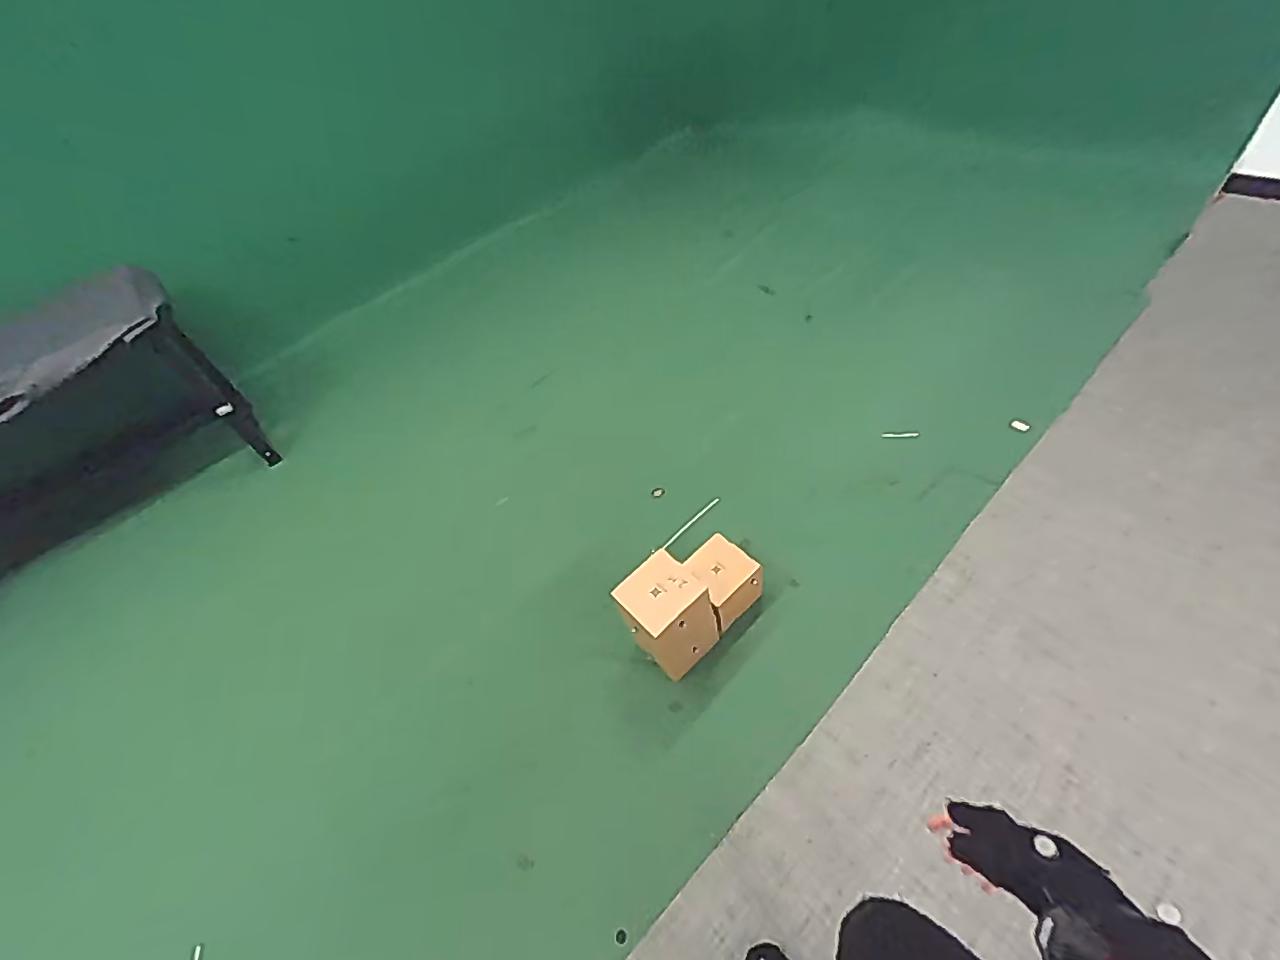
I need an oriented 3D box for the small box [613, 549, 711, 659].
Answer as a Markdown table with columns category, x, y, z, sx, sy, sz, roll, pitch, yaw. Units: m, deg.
| category | x | y | z | sx | sy | sz | roll | pitch | yaw |
| --- | --- | --- | --- | --- | --- | --- | --- | --- | --- |
| small box | 0.063 | 0.313 | 1.349 | 0.179 | 0.176 | 0.168 | -39 | 54 | -18 |
